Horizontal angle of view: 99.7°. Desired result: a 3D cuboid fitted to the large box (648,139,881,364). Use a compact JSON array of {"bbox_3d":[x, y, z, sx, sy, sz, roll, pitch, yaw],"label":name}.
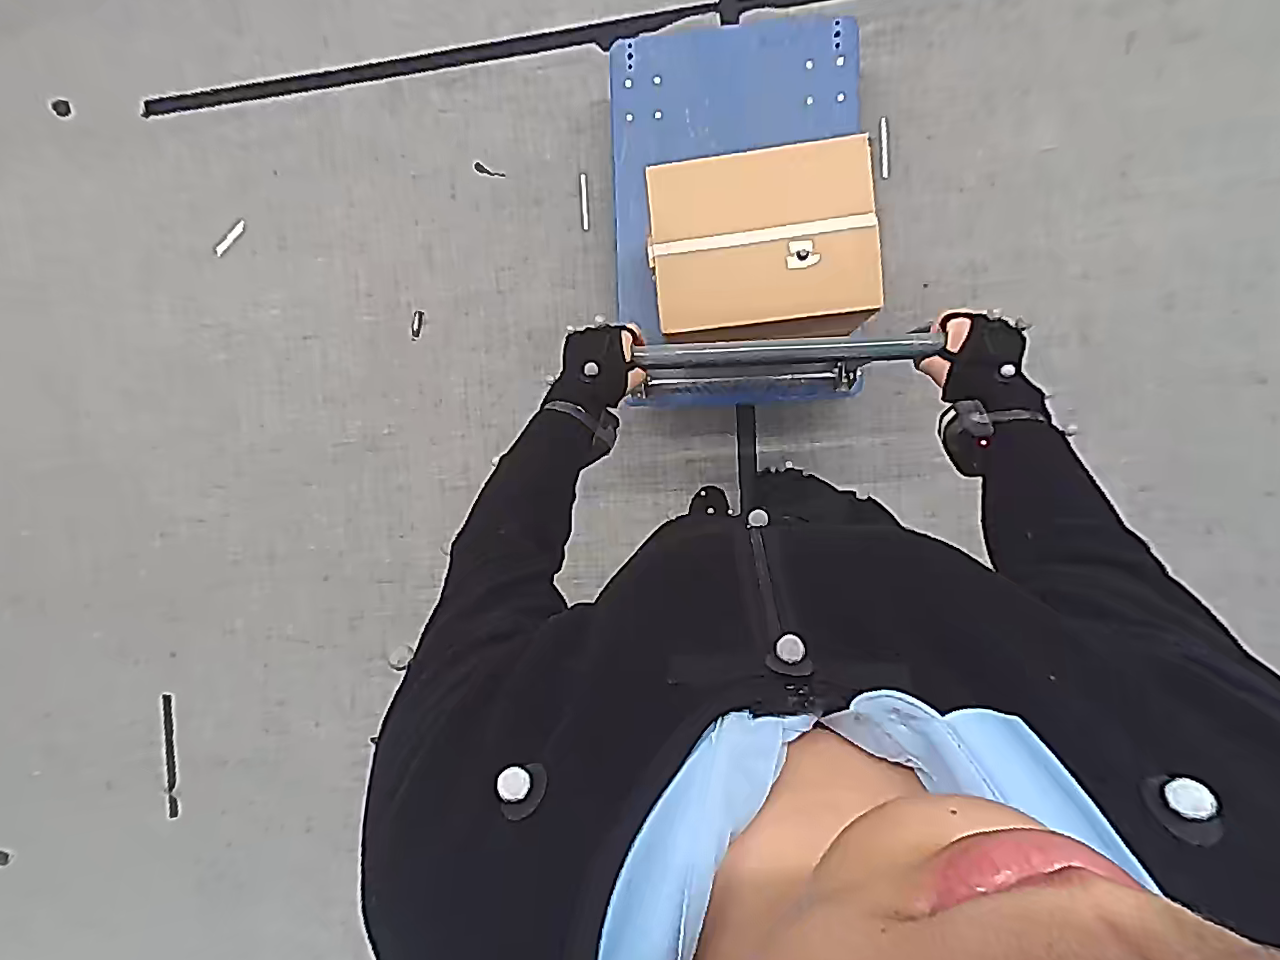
[{"bbox_3d":[0.238,-0.448,1.145,0.408,0.320,0.320,-6,92,5],"label":"large box"}]
